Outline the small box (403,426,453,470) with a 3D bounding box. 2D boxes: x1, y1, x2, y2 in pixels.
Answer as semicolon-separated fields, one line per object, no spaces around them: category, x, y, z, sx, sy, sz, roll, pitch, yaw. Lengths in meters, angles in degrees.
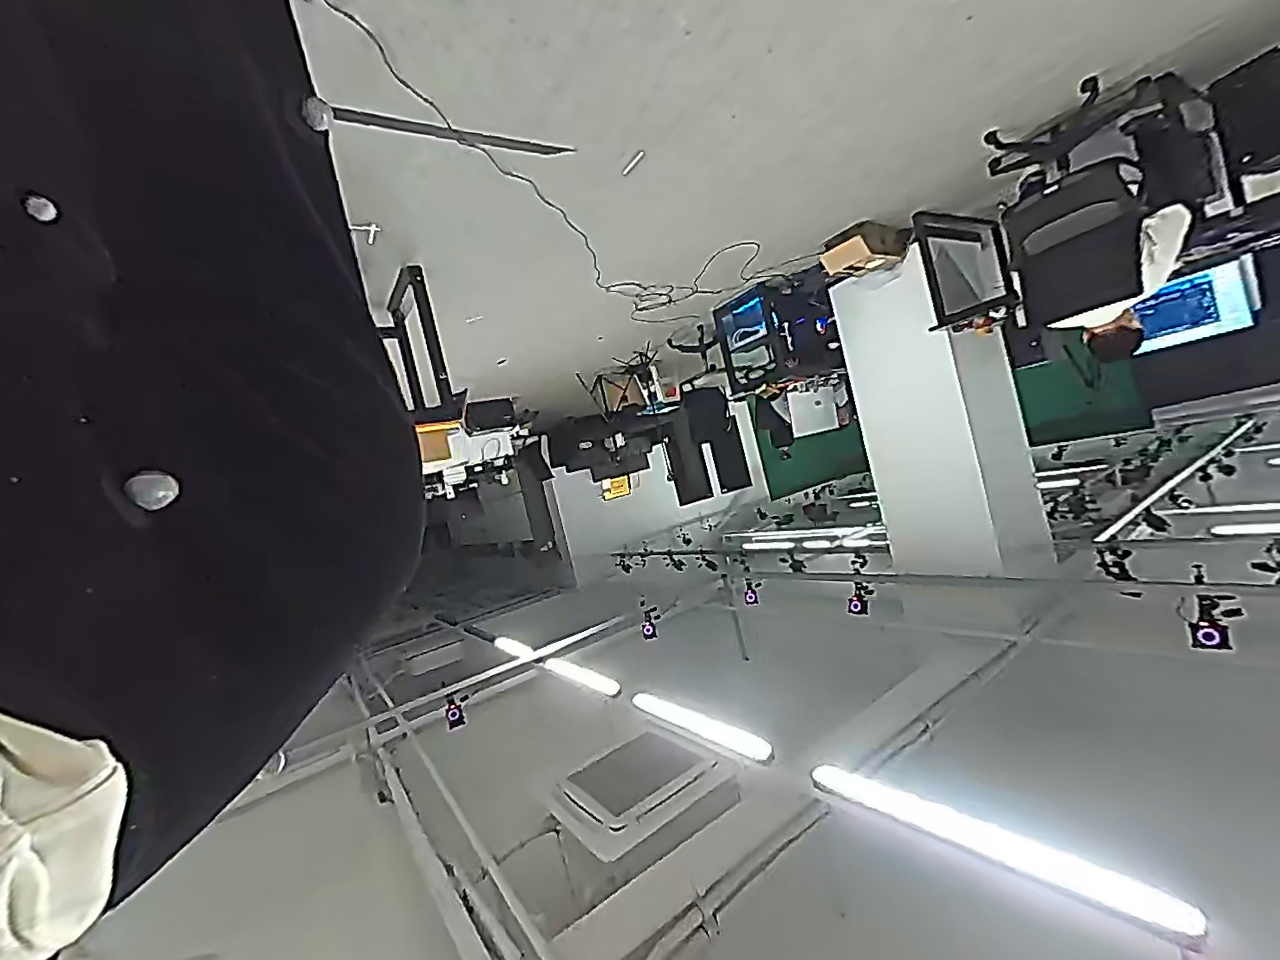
small box;-1.009;-0.153;2.563;0.179;0.176;0.168;-12;179;-34
